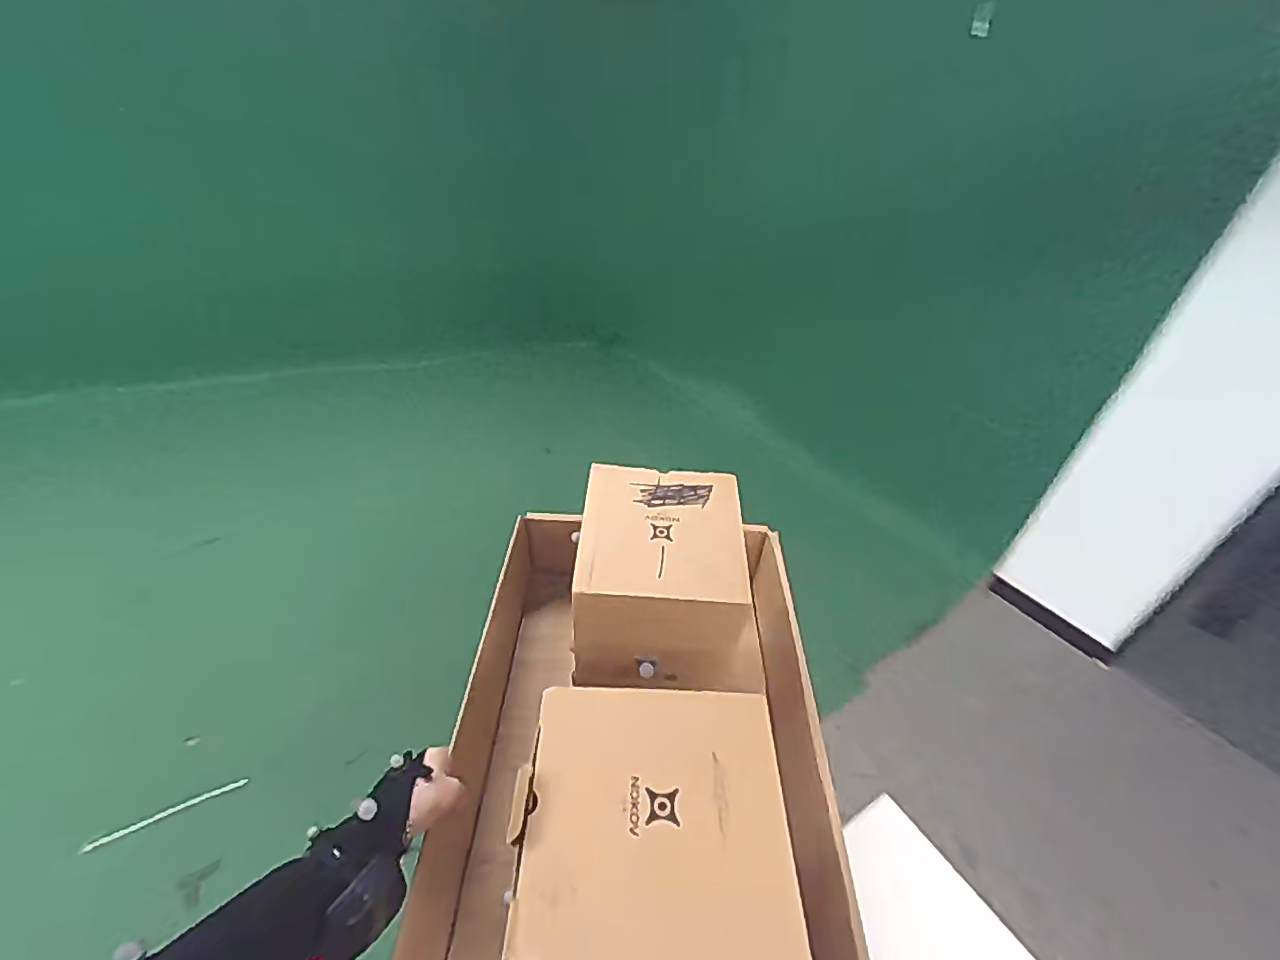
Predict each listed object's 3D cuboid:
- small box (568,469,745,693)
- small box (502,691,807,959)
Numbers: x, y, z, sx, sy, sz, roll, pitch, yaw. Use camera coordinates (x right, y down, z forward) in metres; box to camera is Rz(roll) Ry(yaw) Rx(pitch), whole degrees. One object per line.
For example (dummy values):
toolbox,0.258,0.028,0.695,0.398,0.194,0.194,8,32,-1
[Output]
small box,0.013,0.111,0.602,0.168,0.176,0.179,3,43,-1
small box,0.005,0.281,0.413,0.179,0.176,0.168,2,41,-3
